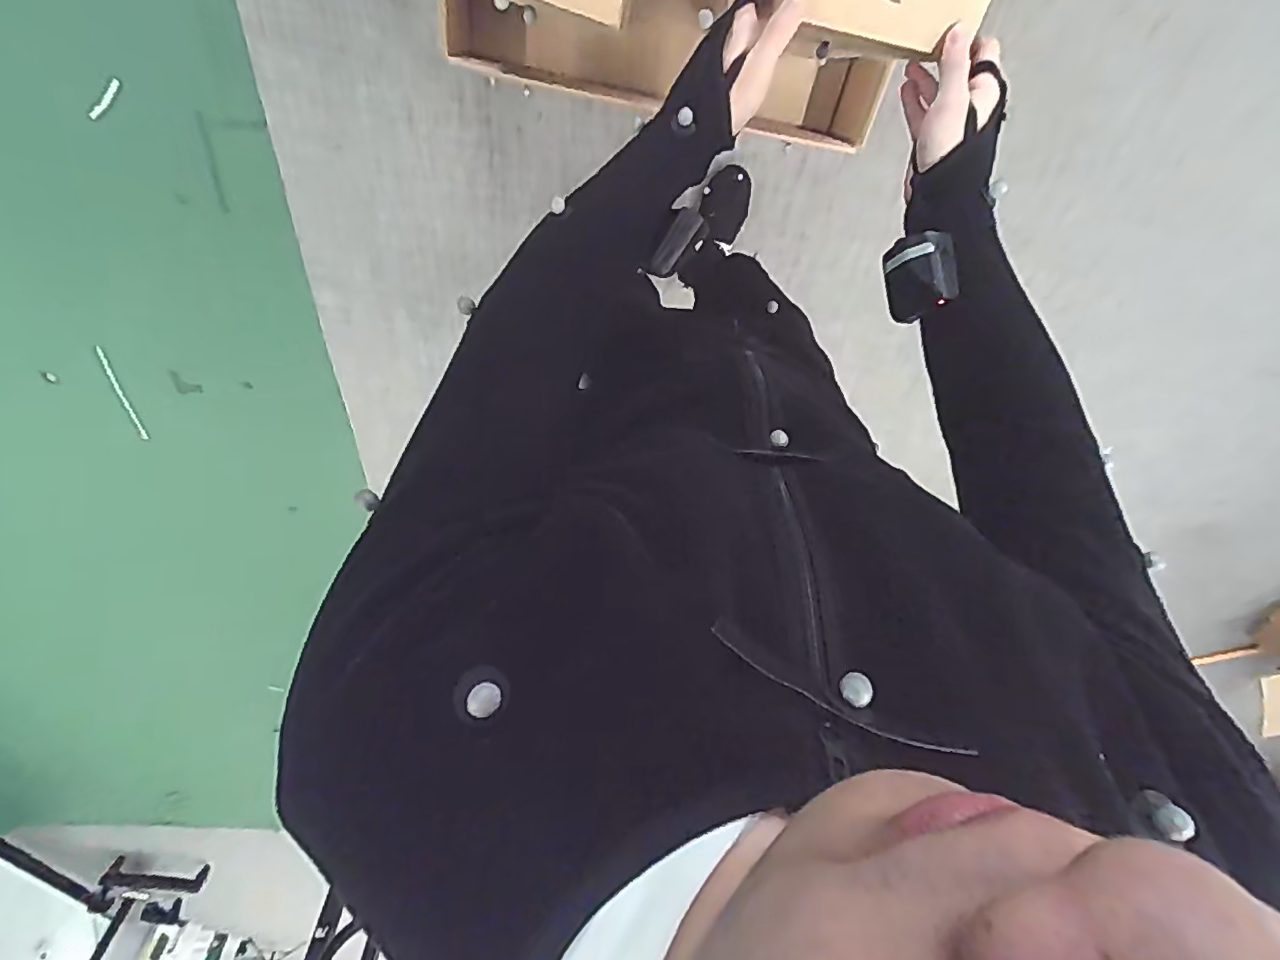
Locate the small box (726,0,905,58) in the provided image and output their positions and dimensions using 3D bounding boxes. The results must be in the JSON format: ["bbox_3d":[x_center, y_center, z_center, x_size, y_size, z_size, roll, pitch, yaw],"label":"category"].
[{"bbox_3d":[0.199,-0.583,0.585,0.168,0.176,0.179,7,127,-8],"label":"small box"}]

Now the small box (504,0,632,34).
[{"bbox_3d":[-0.078,-0.599,0.568,0.168,0.176,0.179,10,127,-9],"label":"small box"}]
